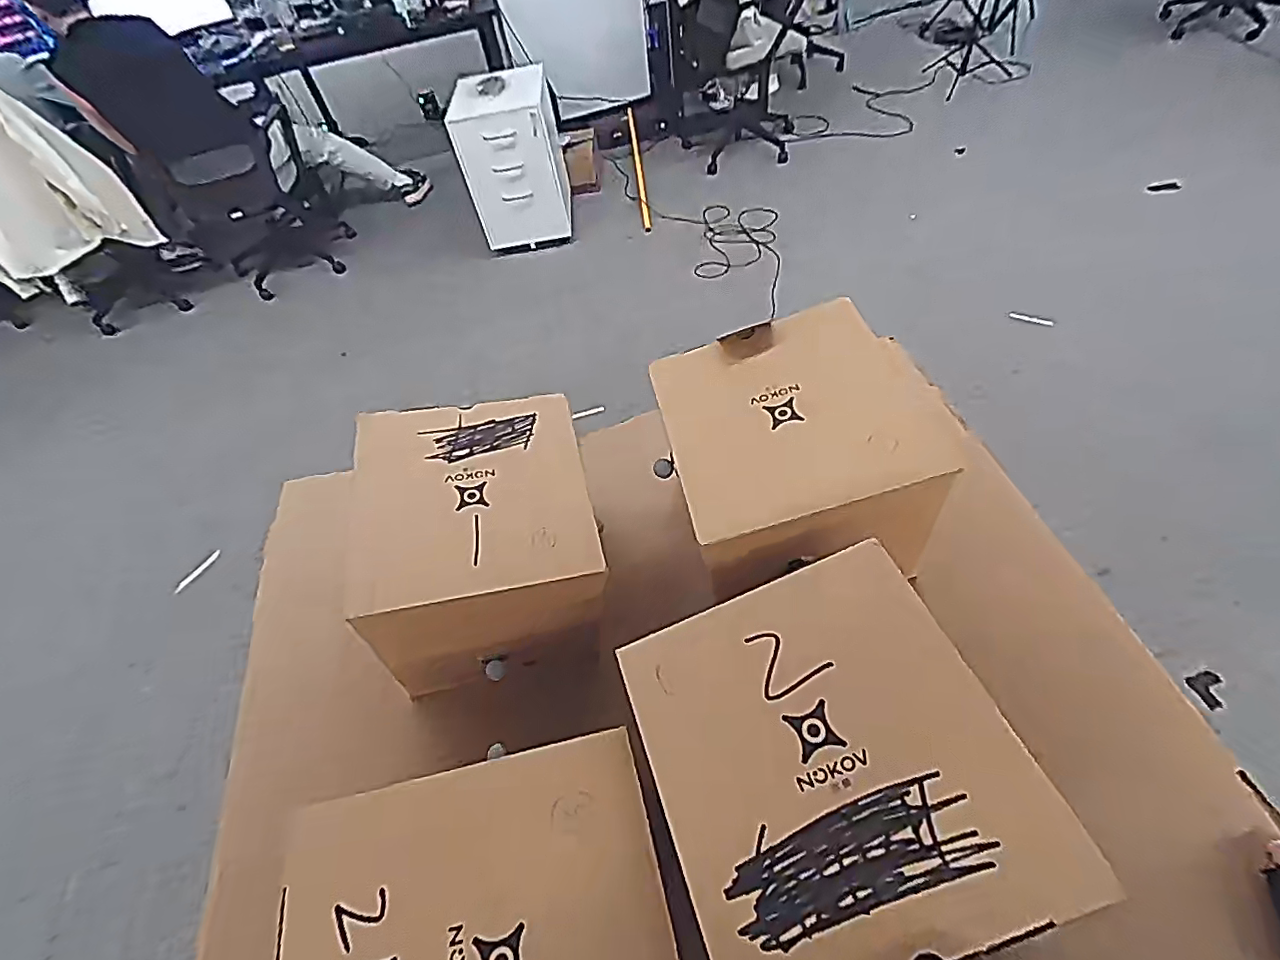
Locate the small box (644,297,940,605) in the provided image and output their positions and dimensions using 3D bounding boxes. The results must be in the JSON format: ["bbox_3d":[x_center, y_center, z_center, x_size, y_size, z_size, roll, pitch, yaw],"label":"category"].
[{"bbox_3d":[0.116,-0.011,0.452,0.168,0.176,0.179,-18,53,6],"label":"small box"}]
